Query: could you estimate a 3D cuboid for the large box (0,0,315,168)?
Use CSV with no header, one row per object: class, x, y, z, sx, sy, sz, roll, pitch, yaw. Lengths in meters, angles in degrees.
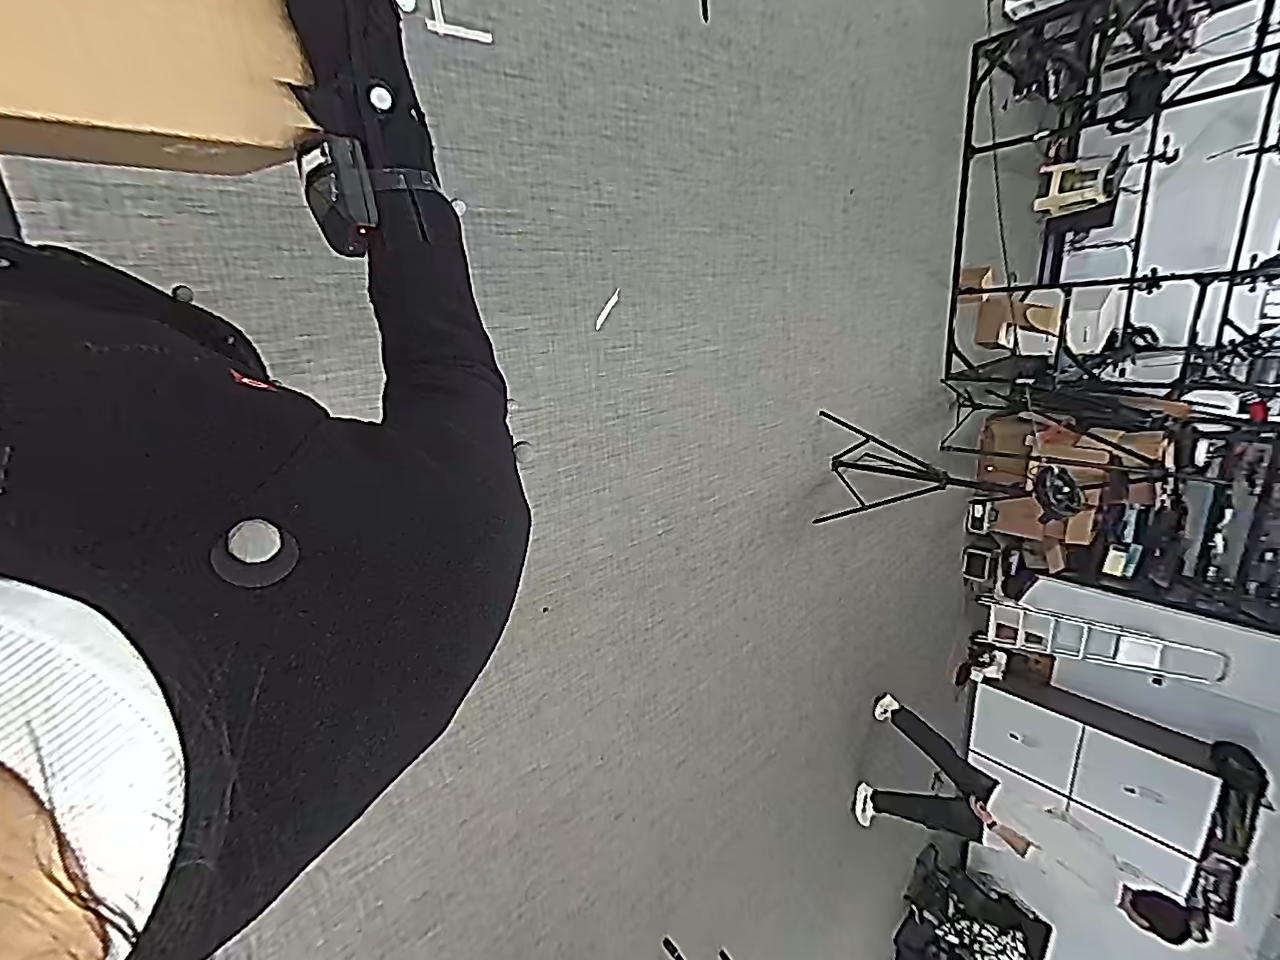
large box,-0.475,-0.376,0.302,0.408,0.320,0.320,-19,123,-40
